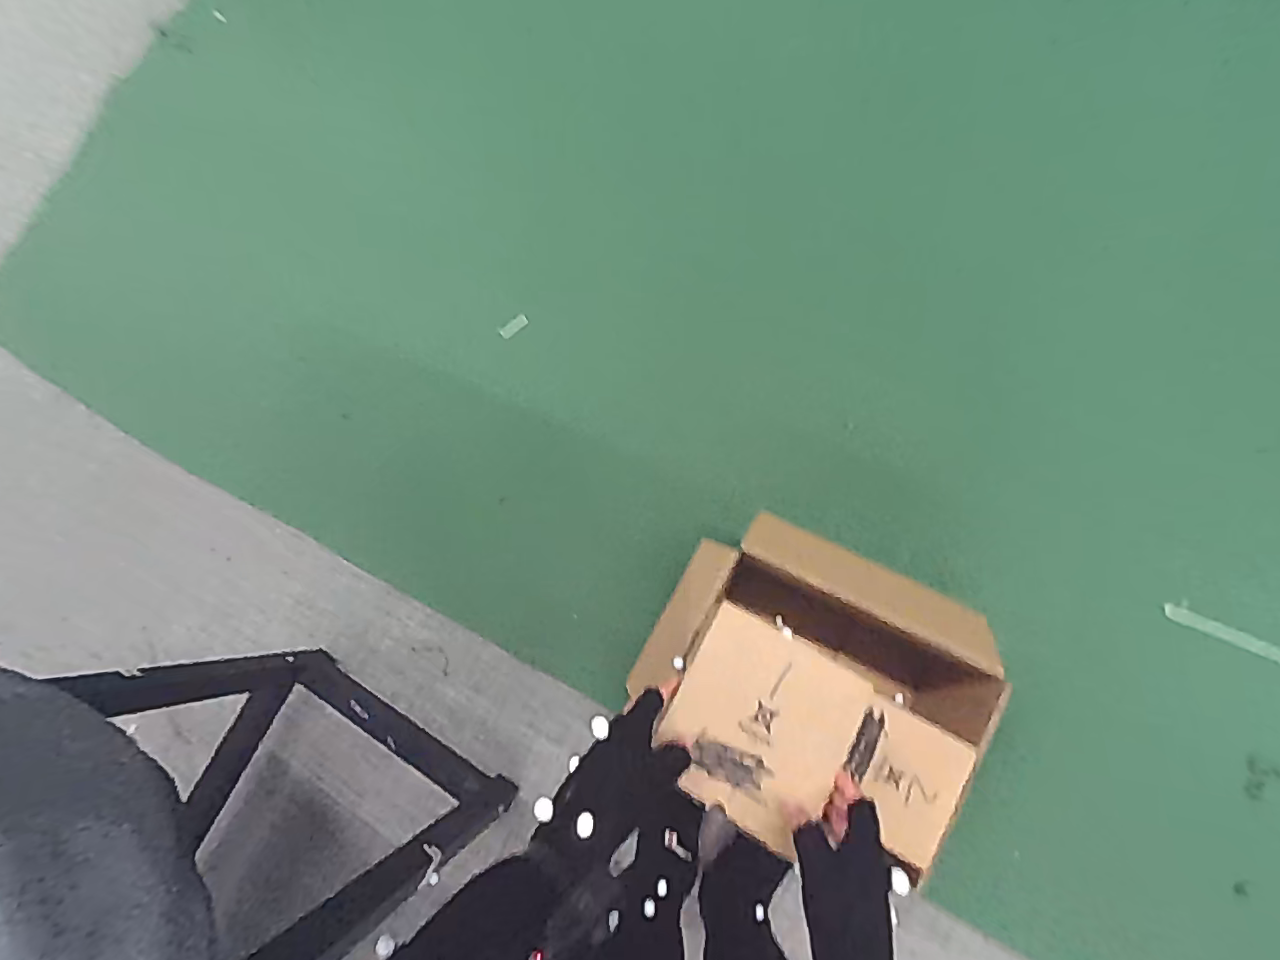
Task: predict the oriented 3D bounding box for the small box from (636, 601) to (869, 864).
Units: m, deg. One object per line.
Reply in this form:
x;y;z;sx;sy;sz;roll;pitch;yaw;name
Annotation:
0.113;0.253;0.584;0.168;0.176;0.179;27;76;11;small box
